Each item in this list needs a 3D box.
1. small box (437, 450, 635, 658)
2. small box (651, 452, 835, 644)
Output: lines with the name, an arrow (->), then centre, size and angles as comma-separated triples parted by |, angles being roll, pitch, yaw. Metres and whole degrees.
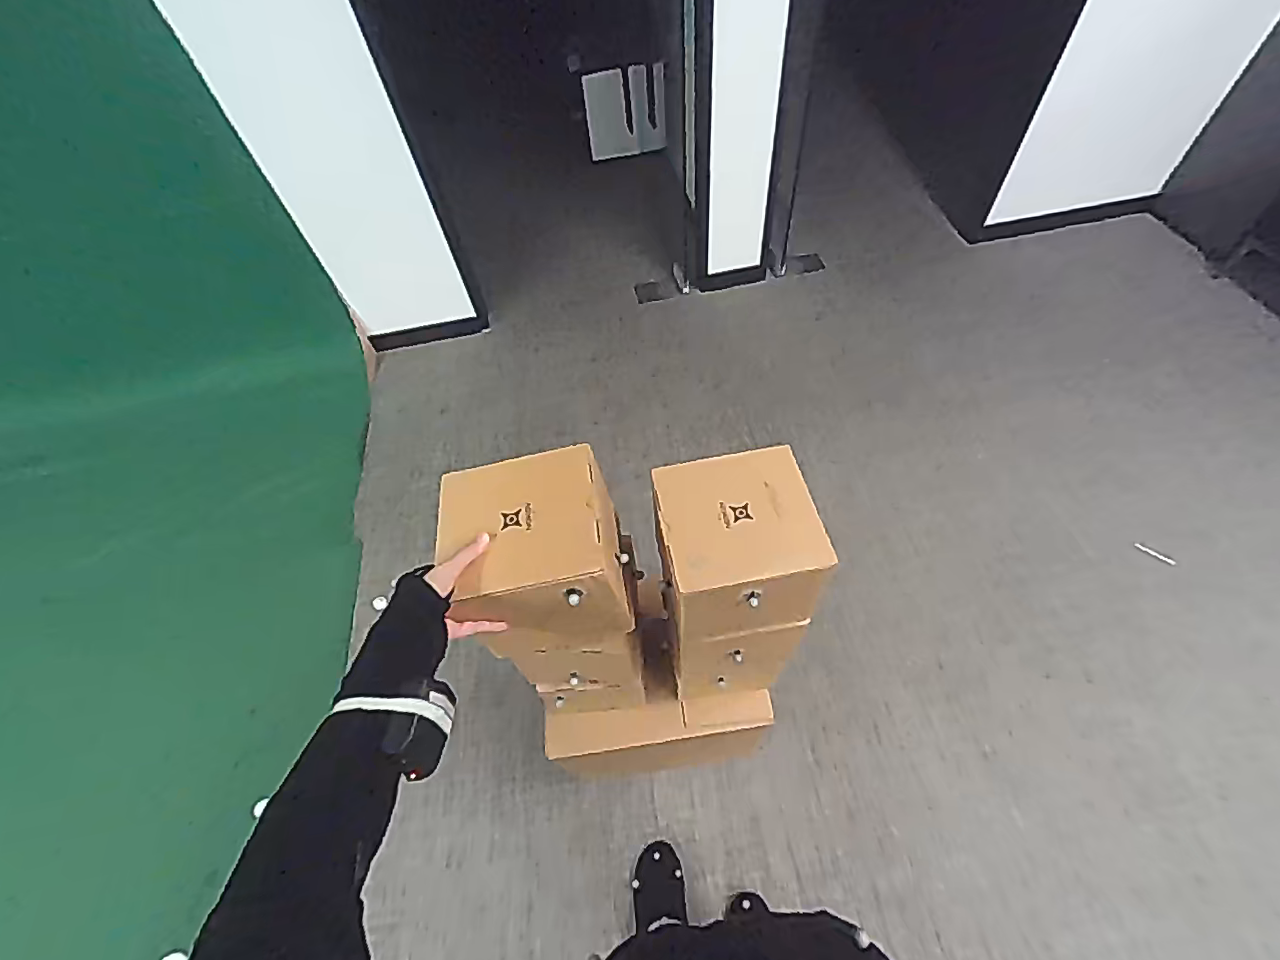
small box -> -0.114, 0.094, 0.639 | 0.179, 0.176, 0.168 | -13, 53, 2
small box -> 0.117, 0.092, 0.677 | 0.179, 0.176, 0.168 | -10, 56, -2
